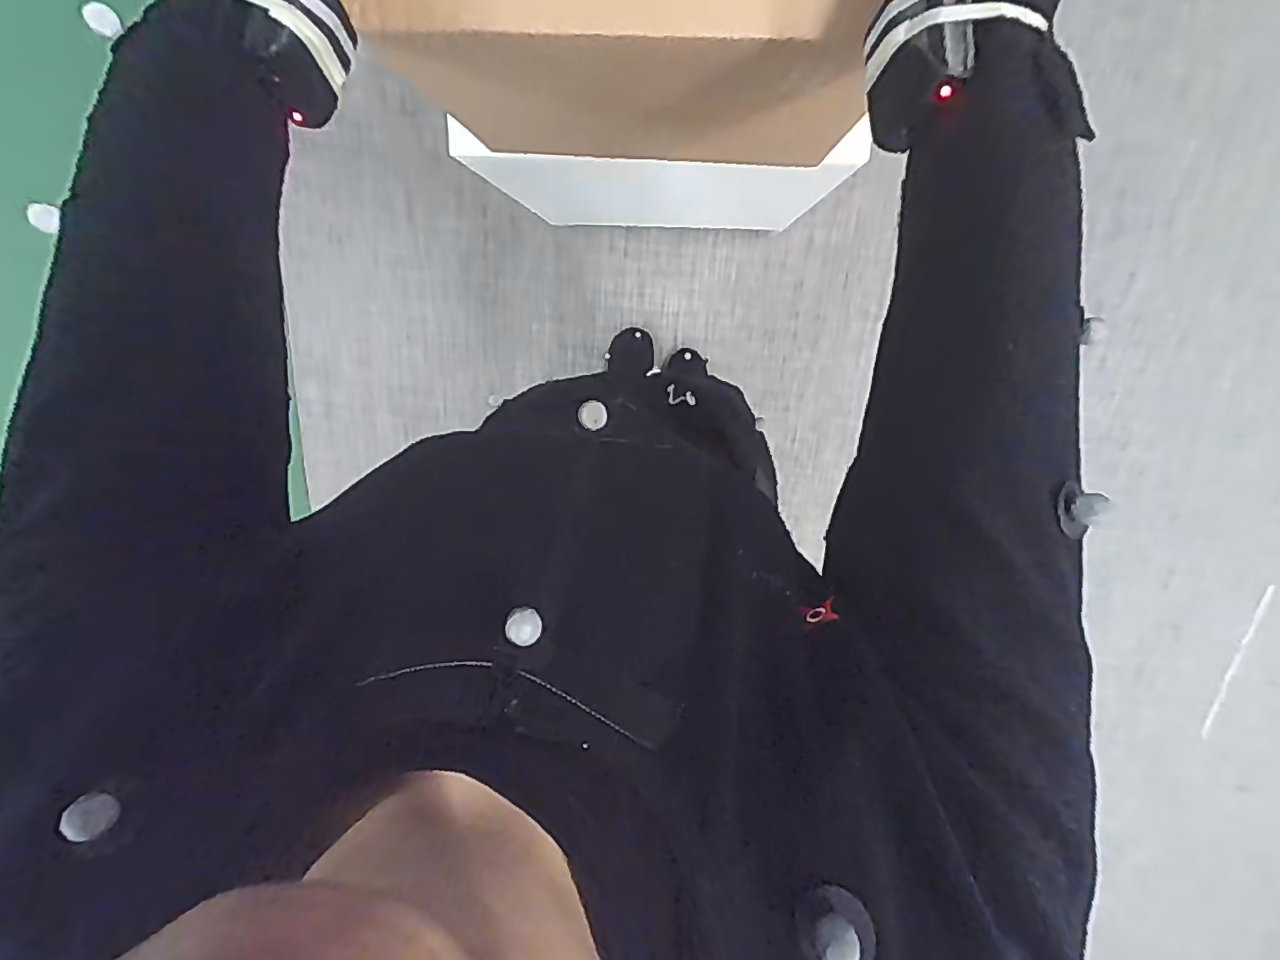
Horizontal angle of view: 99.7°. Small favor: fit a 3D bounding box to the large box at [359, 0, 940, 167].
[{"bbox_3d":[0.012,-0.490,0.475,0.408,0.320,0.320,3,107,1],"label":"large box"}]
